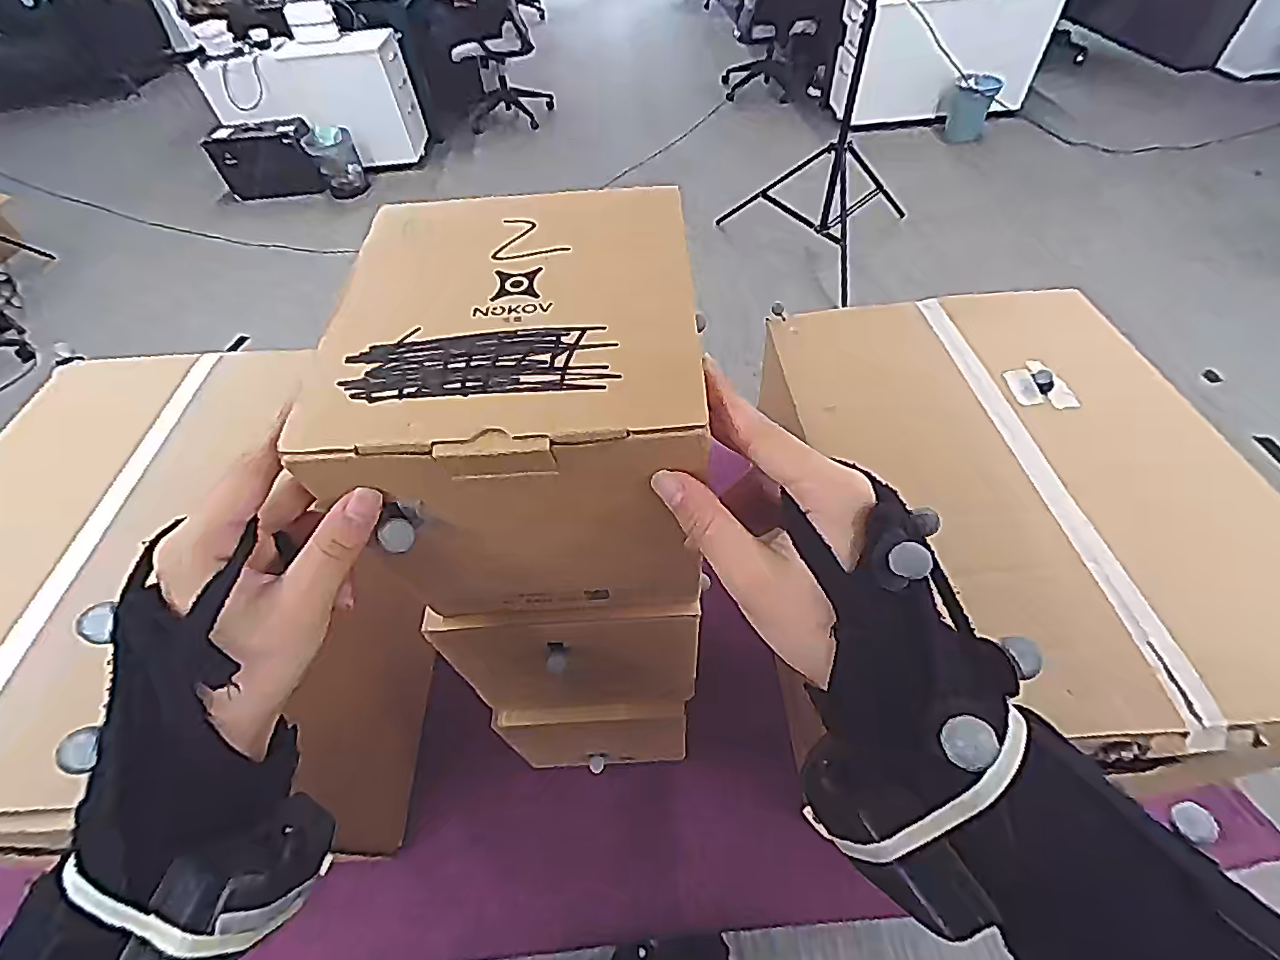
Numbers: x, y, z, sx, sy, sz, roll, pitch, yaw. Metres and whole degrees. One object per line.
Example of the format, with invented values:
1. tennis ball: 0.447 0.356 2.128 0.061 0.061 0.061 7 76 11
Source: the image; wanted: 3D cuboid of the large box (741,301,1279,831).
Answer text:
1. large box: 0.295 0.081 0.537 0.320 0.320 0.408 -5 50 0
